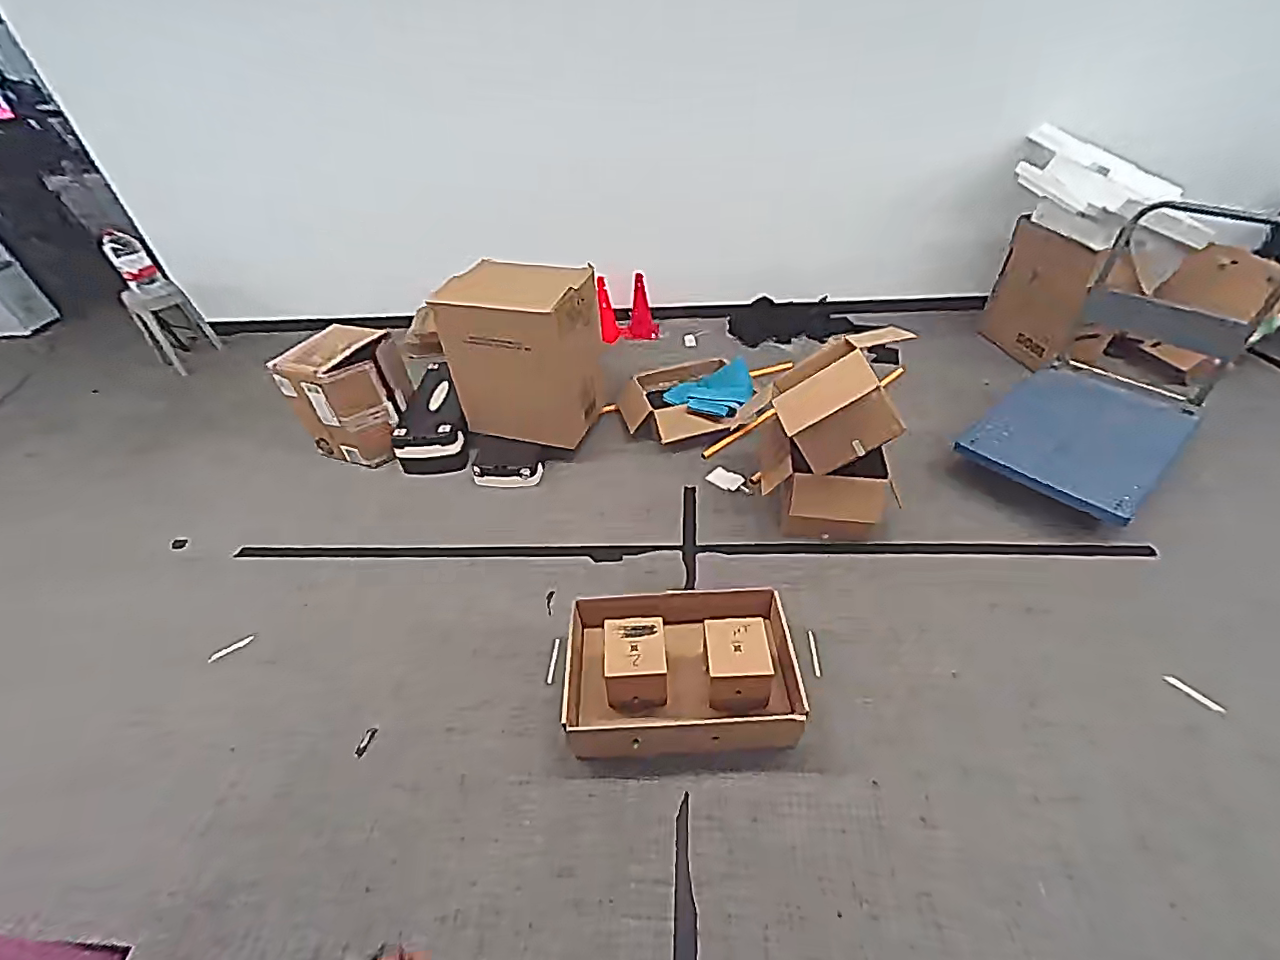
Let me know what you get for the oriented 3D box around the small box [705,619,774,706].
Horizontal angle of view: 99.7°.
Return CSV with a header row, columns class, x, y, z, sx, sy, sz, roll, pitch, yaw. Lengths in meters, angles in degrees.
class,x,y,z,sx,sy,sz,roll,pitch,yaw
small box,0.270,0.509,1.496,0.168,0.176,0.179,-3,40,2
